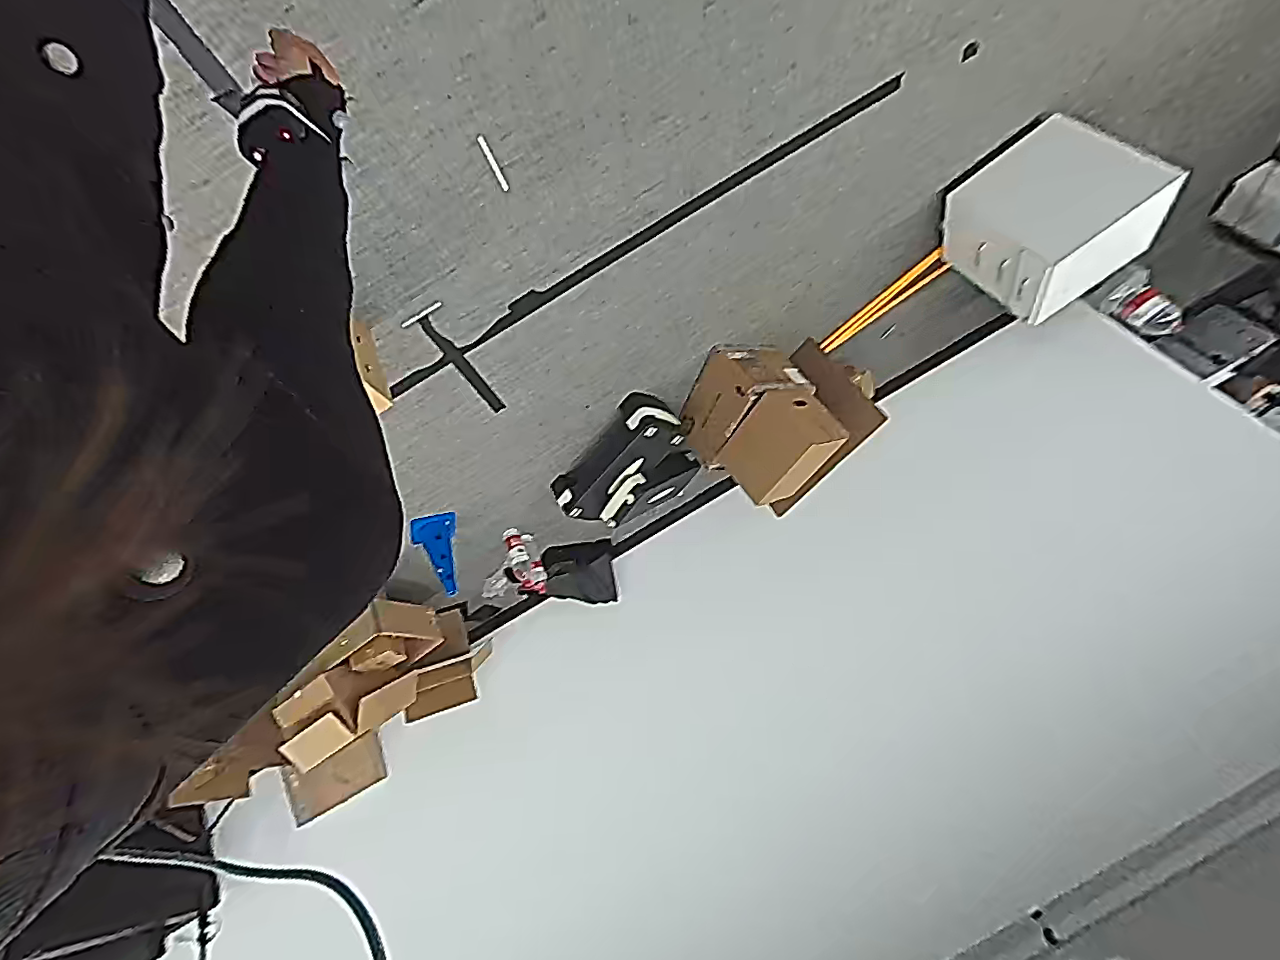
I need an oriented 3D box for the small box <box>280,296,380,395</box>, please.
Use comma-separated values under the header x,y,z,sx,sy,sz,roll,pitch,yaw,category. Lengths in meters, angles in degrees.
x,y,z,sx,sy,sz,roll,pitch,yaw,category
-0.876,-0.380,1.527,0.168,0.176,0.179,-32,149,3,small box
